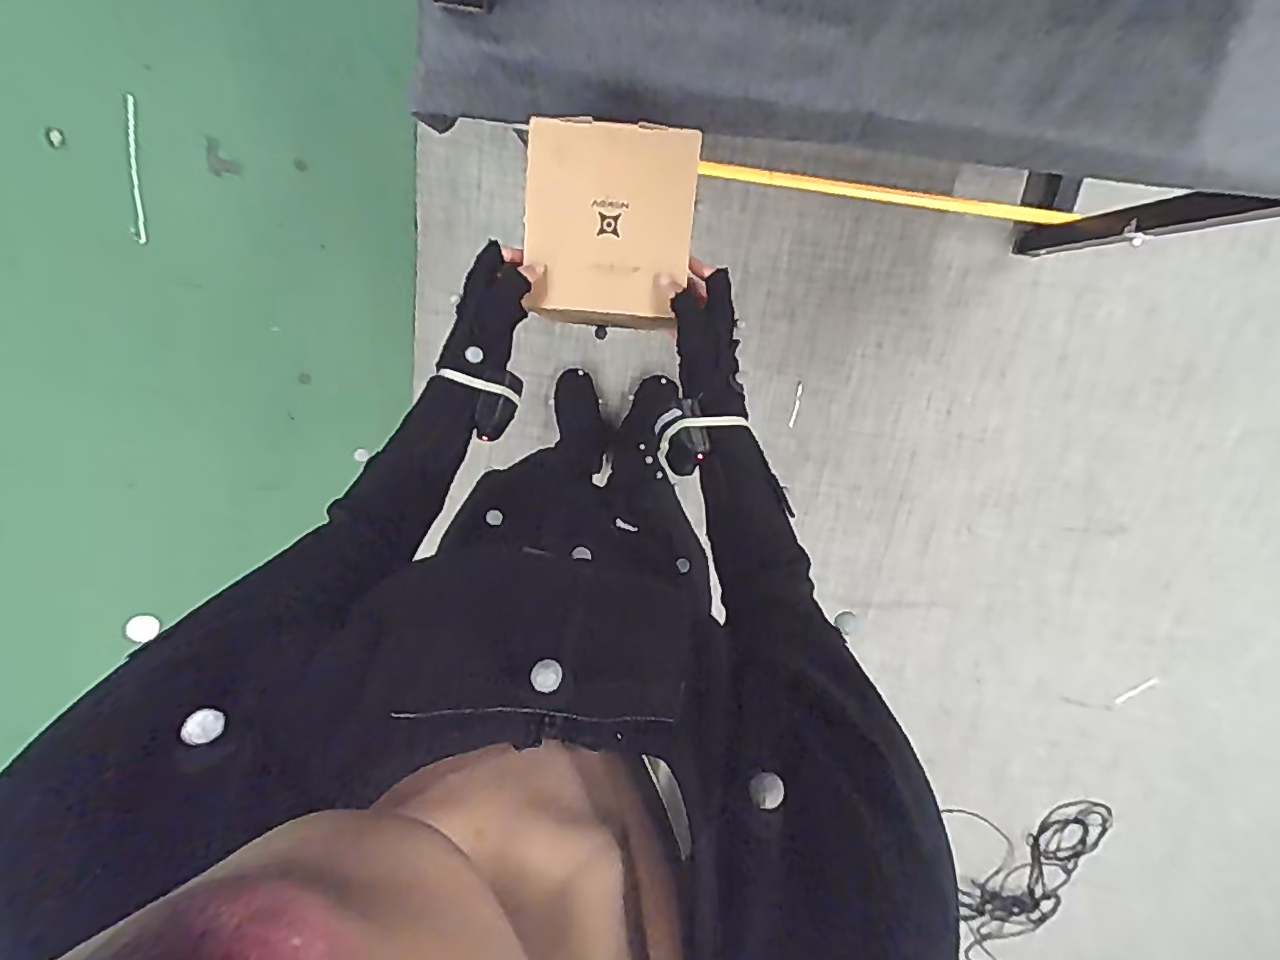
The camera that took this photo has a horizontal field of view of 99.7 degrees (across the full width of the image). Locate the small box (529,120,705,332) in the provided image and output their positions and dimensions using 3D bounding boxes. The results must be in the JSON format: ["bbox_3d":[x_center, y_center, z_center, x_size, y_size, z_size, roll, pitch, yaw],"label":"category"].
[{"bbox_3d":[-0.023,-0.271,0.615,0.168,0.176,0.179,5,102,1],"label":"small box"}]
